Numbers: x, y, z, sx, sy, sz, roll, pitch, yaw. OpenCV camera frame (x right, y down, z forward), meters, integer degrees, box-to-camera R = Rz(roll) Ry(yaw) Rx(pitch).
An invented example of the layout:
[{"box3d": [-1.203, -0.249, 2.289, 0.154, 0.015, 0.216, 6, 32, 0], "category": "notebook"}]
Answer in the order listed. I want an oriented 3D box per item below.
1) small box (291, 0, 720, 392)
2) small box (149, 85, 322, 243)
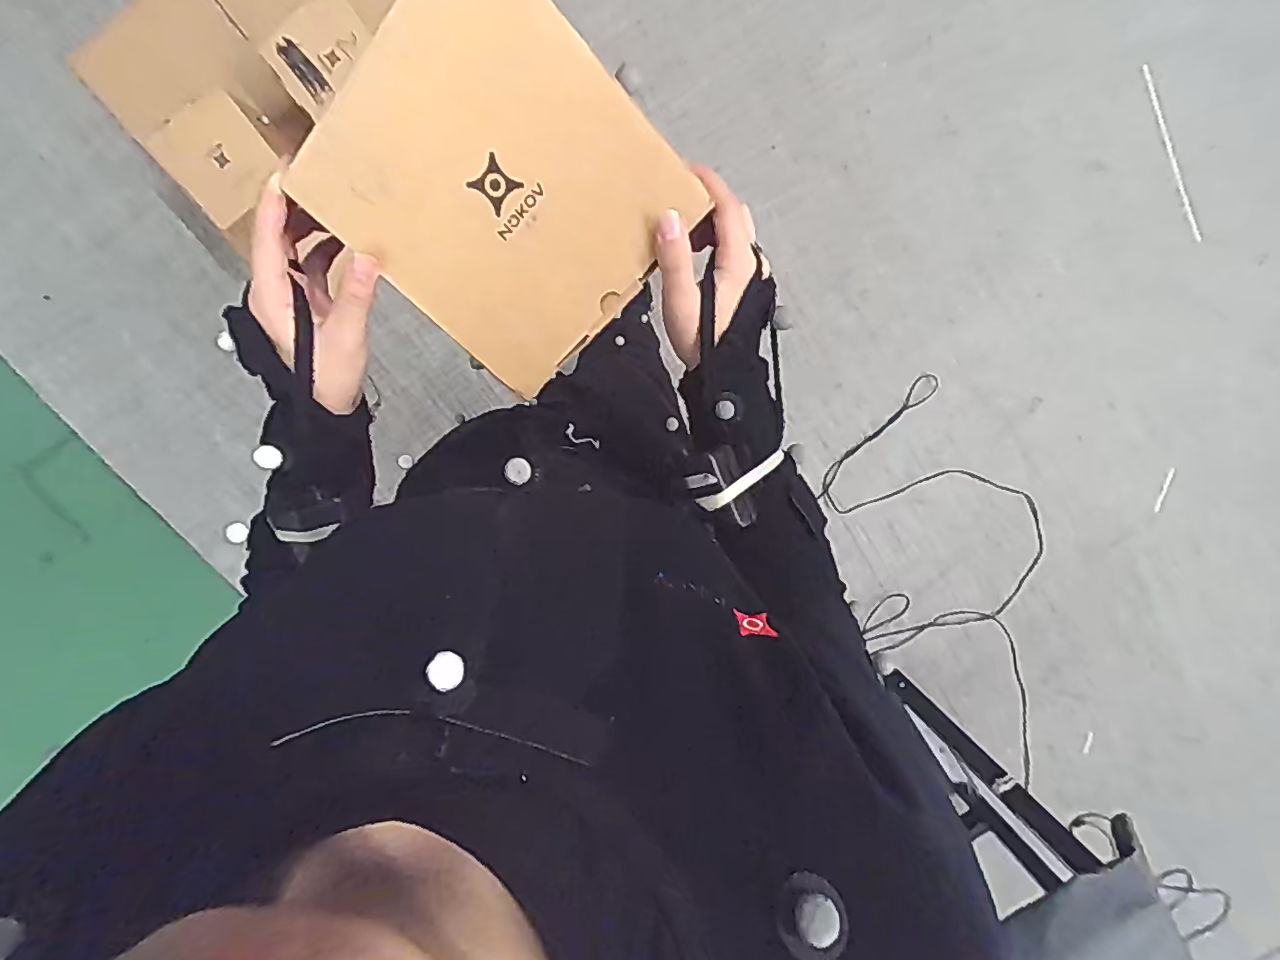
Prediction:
[{"box3d": [-0.075, -0.193, 0.368, 0.168, 0.176, 0.179, -43, 110, 16], "category": "small box"}, {"box3d": [-0.736, -0.577, 1.017, 0.168, 0.176, 0.179, -36, 107, 2], "category": "small box"}]
